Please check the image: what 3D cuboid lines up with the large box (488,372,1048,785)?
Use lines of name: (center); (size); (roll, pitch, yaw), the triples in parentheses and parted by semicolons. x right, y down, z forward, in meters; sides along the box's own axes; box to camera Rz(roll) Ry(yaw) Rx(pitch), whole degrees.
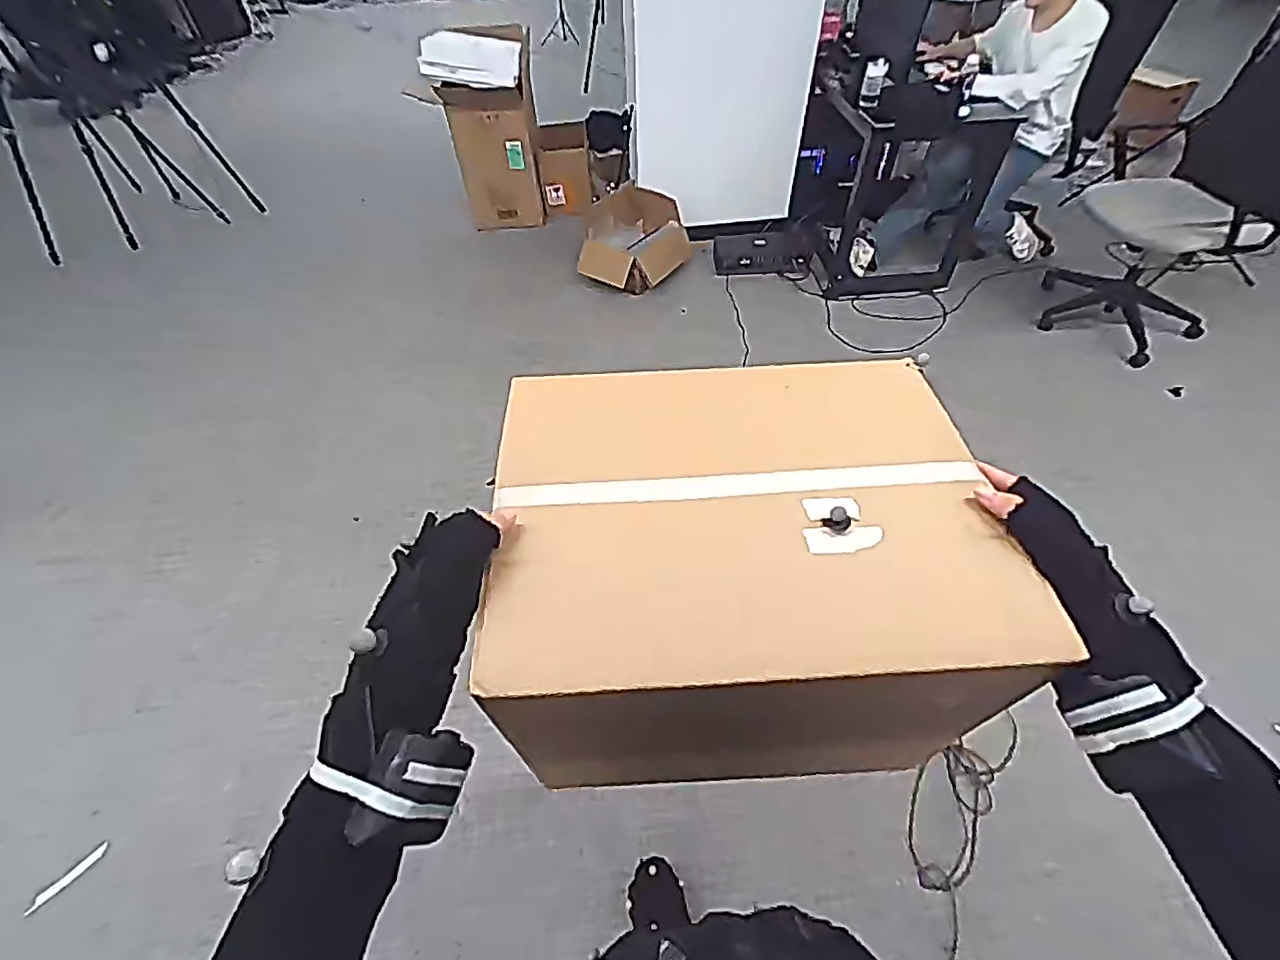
large box: (0.083, 0.109, 0.581); (0.408, 0.320, 0.320); (-3, 51, -2)
